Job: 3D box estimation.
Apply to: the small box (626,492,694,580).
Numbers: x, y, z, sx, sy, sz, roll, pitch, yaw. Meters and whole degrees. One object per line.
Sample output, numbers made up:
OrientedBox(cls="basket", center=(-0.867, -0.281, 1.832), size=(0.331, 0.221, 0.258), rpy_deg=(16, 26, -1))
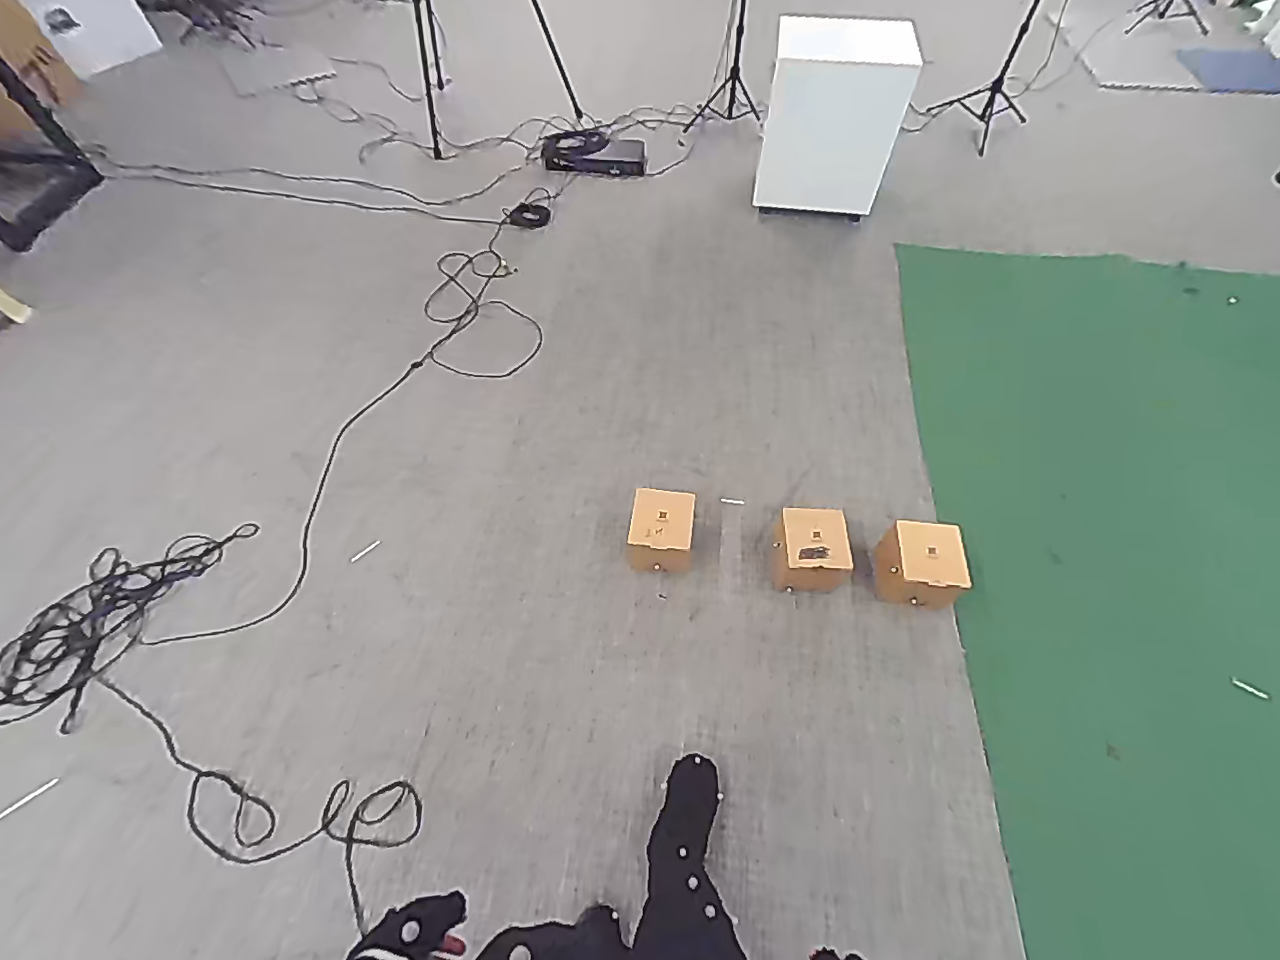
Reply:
OrientedBox(cls="small box", center=(0.055, 0.158, 1.511), size=(0.168, 0.176, 0.179), rpy_deg=(6, 58, 5))

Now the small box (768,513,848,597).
OrientedBox(cls="small box", center=(0.453, 0.209, 1.482), size=(0.168, 0.176, 0.179), rpy_deg=(3, 56, 1))

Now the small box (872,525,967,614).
OrientedBox(cls="small box", center=(0.742, 0.245, 1.461), size=(0.168, 0.176, 0.179), rpy_deg=(5, 57, 4))
